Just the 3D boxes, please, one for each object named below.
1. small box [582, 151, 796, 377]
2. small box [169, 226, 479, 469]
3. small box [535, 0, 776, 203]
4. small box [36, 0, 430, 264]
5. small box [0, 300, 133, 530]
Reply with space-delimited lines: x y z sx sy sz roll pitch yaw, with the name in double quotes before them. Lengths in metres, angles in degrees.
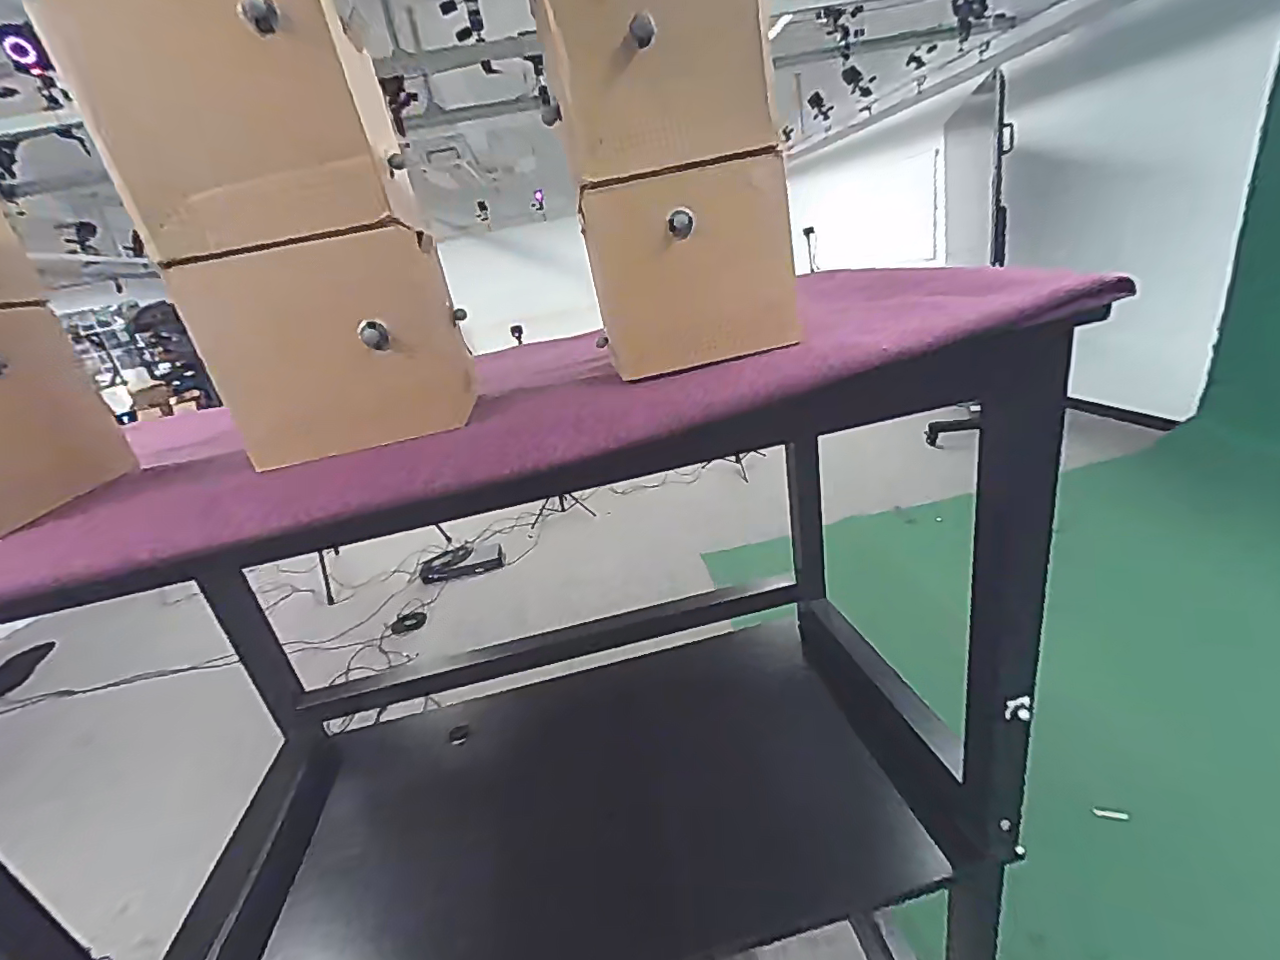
"small box" 0.044 -0.211 0.560 0.179 0.176 0.168 -13 20 -3
"small box" -0.264 -0.127 0.509 0.179 0.176 0.168 -14 21 -6
"small box" 0.010 -0.362 0.506 0.179 0.176 0.168 -14 20 -3
"small box" -0.299 -0.276 0.450 0.179 0.176 0.168 -14 21 -8
"small box" -0.591 -0.044 0.448 0.168 0.176 0.179 -13 22 -7
